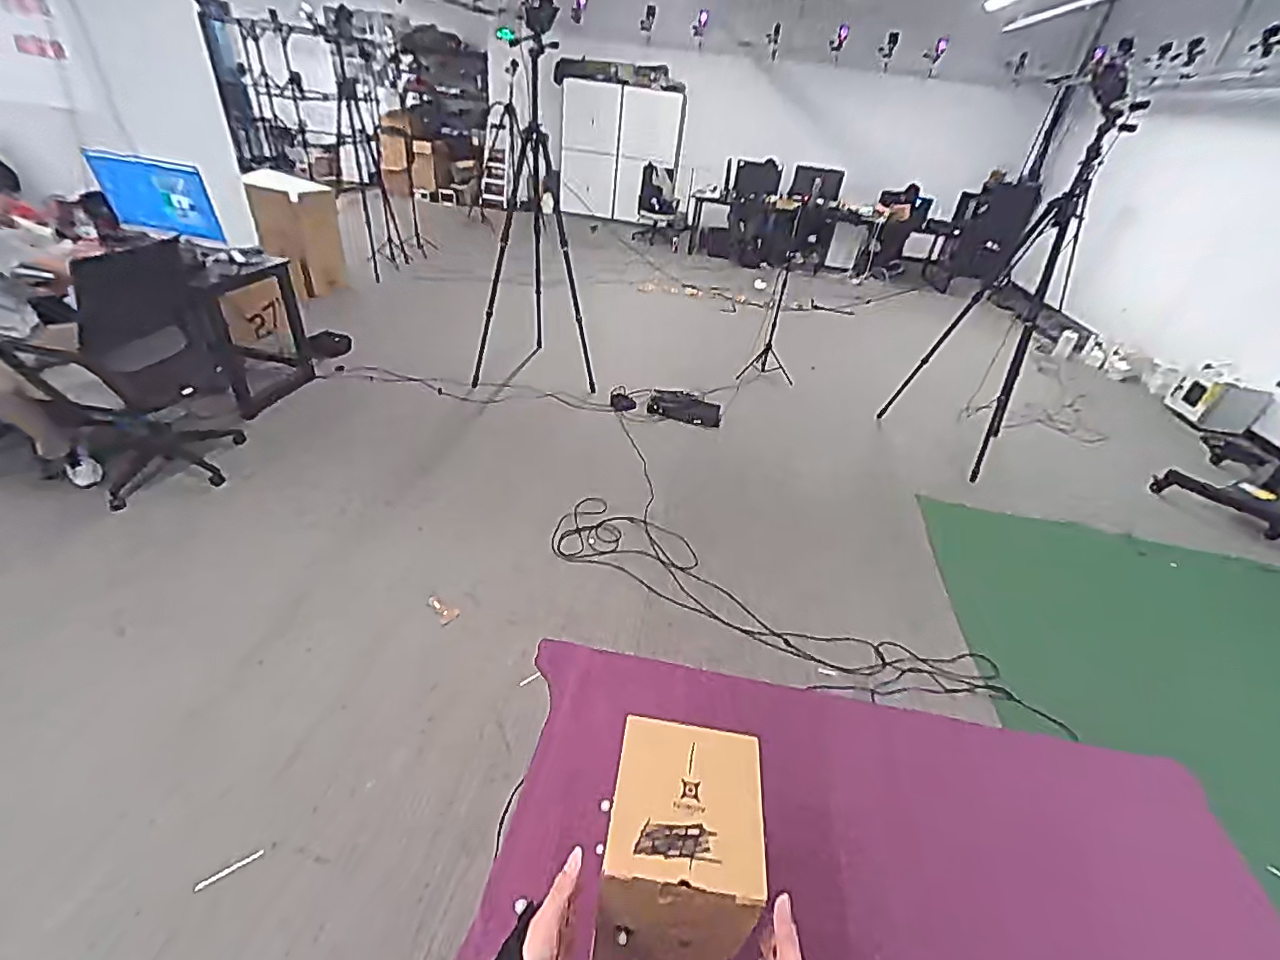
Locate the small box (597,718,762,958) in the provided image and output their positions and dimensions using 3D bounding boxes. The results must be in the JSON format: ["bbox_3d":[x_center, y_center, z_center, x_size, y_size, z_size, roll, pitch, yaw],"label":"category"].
[{"bbox_3d":[0.044,0.421,0.640,0.168,0.176,0.179,9,33,3],"label":"small box"}]

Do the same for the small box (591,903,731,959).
[{"bbox_3d":[0.030,0.551,0.739,0.168,0.176,0.179,9,35,3],"label":"small box"}]
